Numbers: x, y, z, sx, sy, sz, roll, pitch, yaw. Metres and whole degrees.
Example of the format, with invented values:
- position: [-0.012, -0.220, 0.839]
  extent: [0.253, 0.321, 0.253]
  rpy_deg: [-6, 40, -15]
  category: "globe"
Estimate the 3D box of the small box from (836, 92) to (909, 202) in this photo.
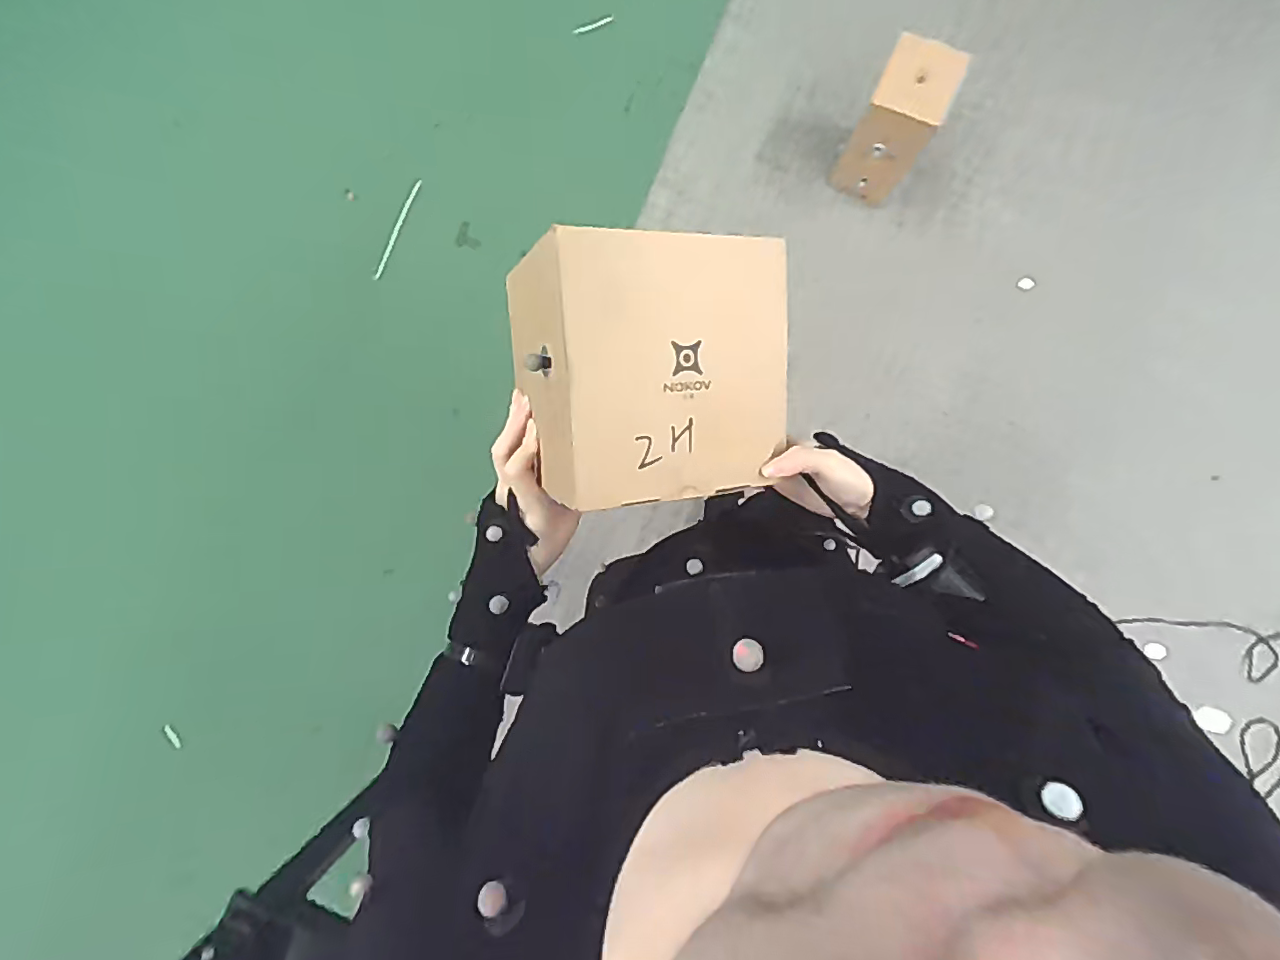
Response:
- position: [0.632, -0.866, 1.407]
  extent: [0.168, 0.176, 0.179]
  rpy_deg: [27, 91, 5]
  category: "small box"

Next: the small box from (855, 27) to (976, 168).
- position: [0.622, -0.870, 1.244]
  extent: [0.168, 0.176, 0.179]
  rpy_deg: [23, 90, 6]
  category: "small box"
